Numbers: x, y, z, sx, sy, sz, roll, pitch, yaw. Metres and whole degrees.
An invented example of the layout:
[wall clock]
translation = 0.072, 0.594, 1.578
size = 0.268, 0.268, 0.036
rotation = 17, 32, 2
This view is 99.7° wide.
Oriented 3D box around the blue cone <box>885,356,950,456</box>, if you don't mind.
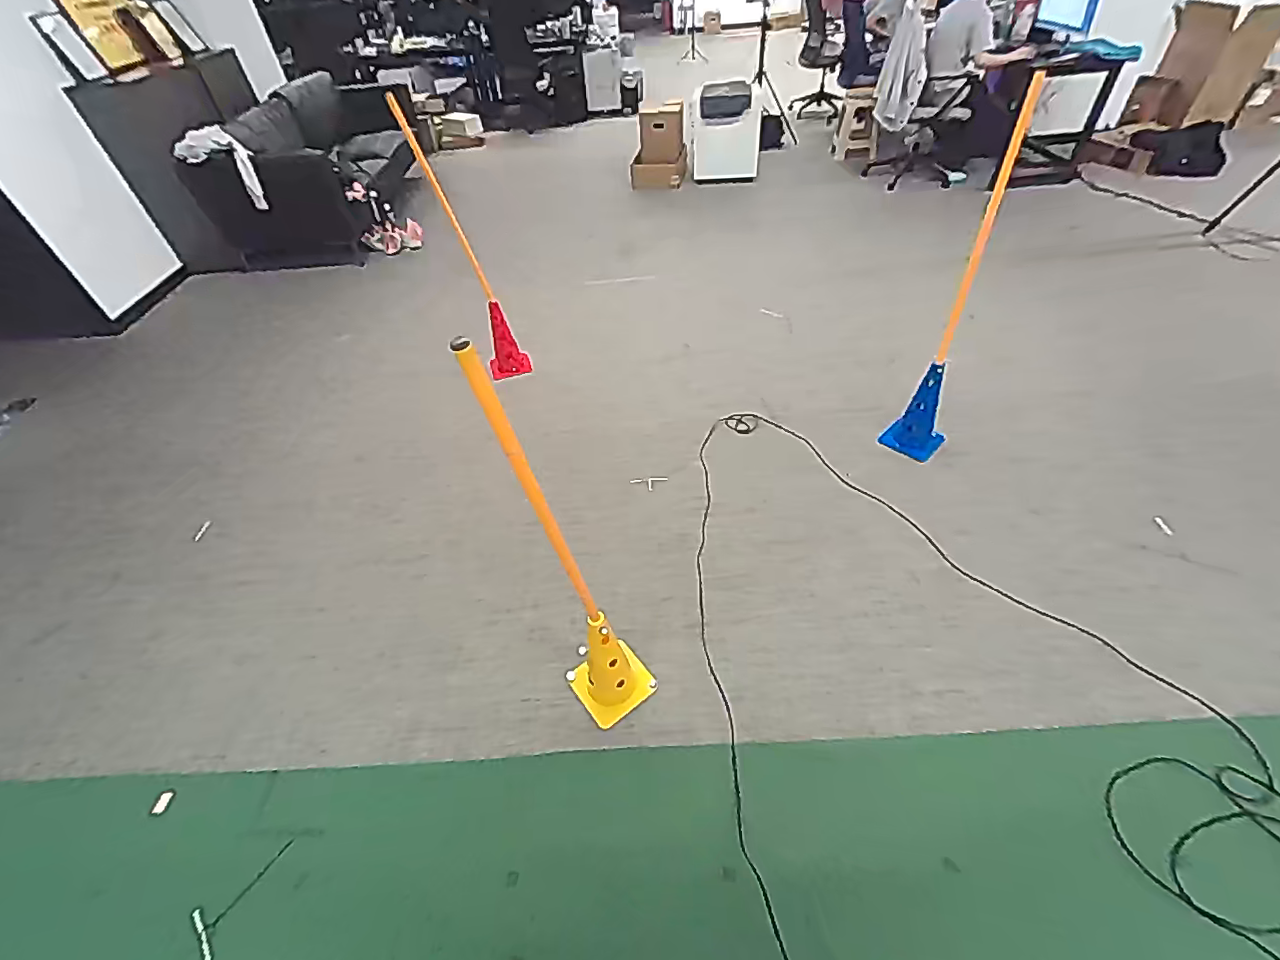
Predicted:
[blue cone]
translation = 1.079, -0.296, 2.038
size = 0.192, 0.380, 0.193
rotation = 31, 54, 32
